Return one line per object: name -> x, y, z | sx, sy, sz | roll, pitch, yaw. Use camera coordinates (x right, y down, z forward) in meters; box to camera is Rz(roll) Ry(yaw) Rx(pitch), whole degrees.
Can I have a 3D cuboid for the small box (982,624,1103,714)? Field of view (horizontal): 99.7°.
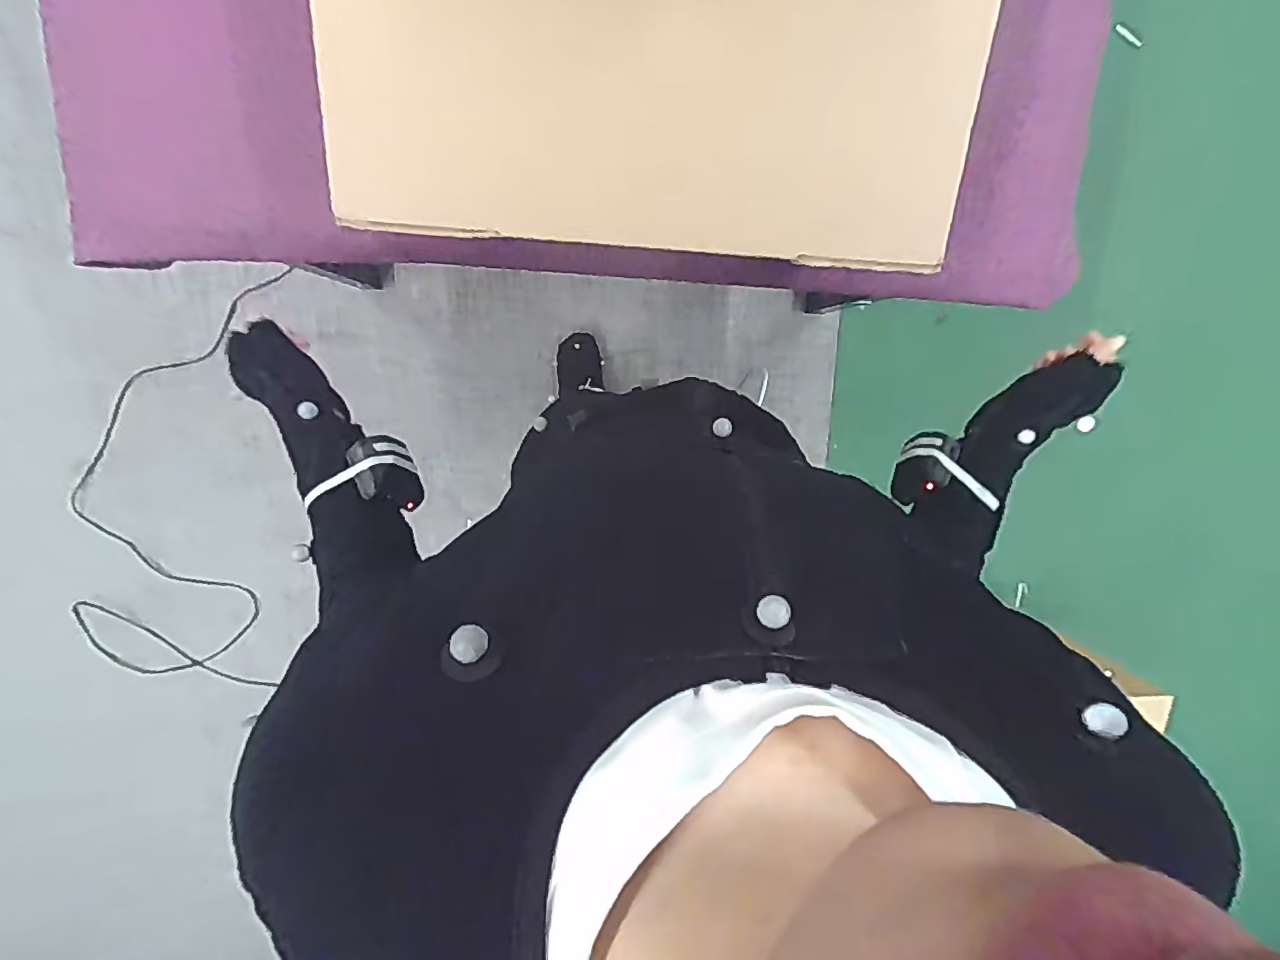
small box -> 1.055, 0.493, 1.430 | 0.179, 0.176, 0.168 | 1, 103, -4
